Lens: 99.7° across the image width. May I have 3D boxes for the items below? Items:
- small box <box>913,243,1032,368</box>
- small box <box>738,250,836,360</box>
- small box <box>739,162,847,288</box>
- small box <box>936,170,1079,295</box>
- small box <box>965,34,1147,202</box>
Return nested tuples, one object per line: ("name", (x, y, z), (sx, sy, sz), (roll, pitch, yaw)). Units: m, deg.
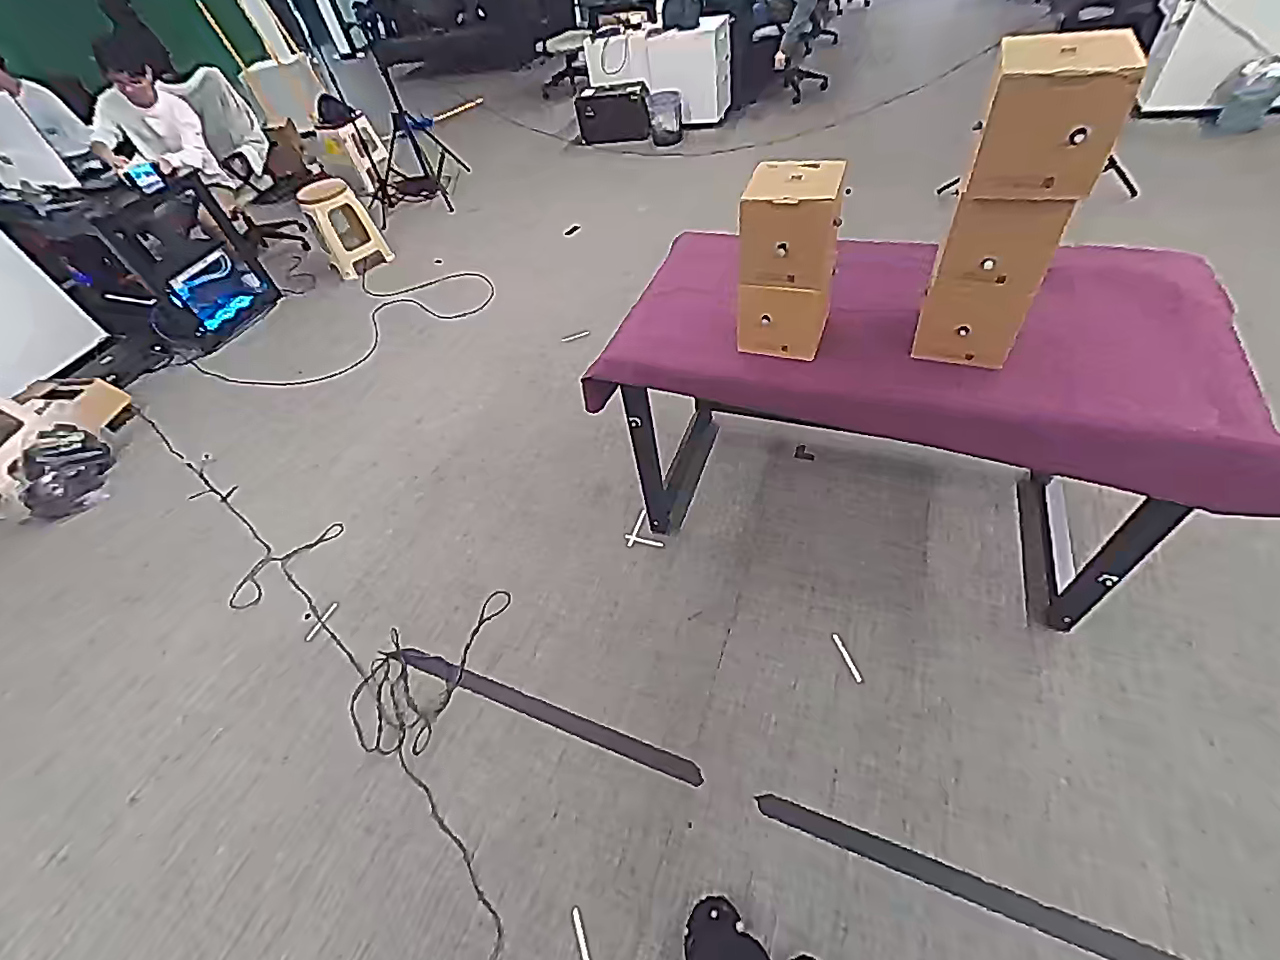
("small box", (0.657, -0.346, 1.076), (0.168, 0.176, 0.179), (15, 54, 21))
("small box", (0.315, -0.381, 1.169), (0.168, 0.176, 0.179), (13, 52, 20))
("small box", (0.294, -0.493, 1.051), (0.168, 0.176, 0.179), (11, 52, 18))
("small box", (0.639, -0.454, 0.954), (0.168, 0.176, 0.179), (14, 54, 21))
("small box", (0.610, -0.541, 0.818), (0.168, 0.176, 0.179), (12, 53, 19))
